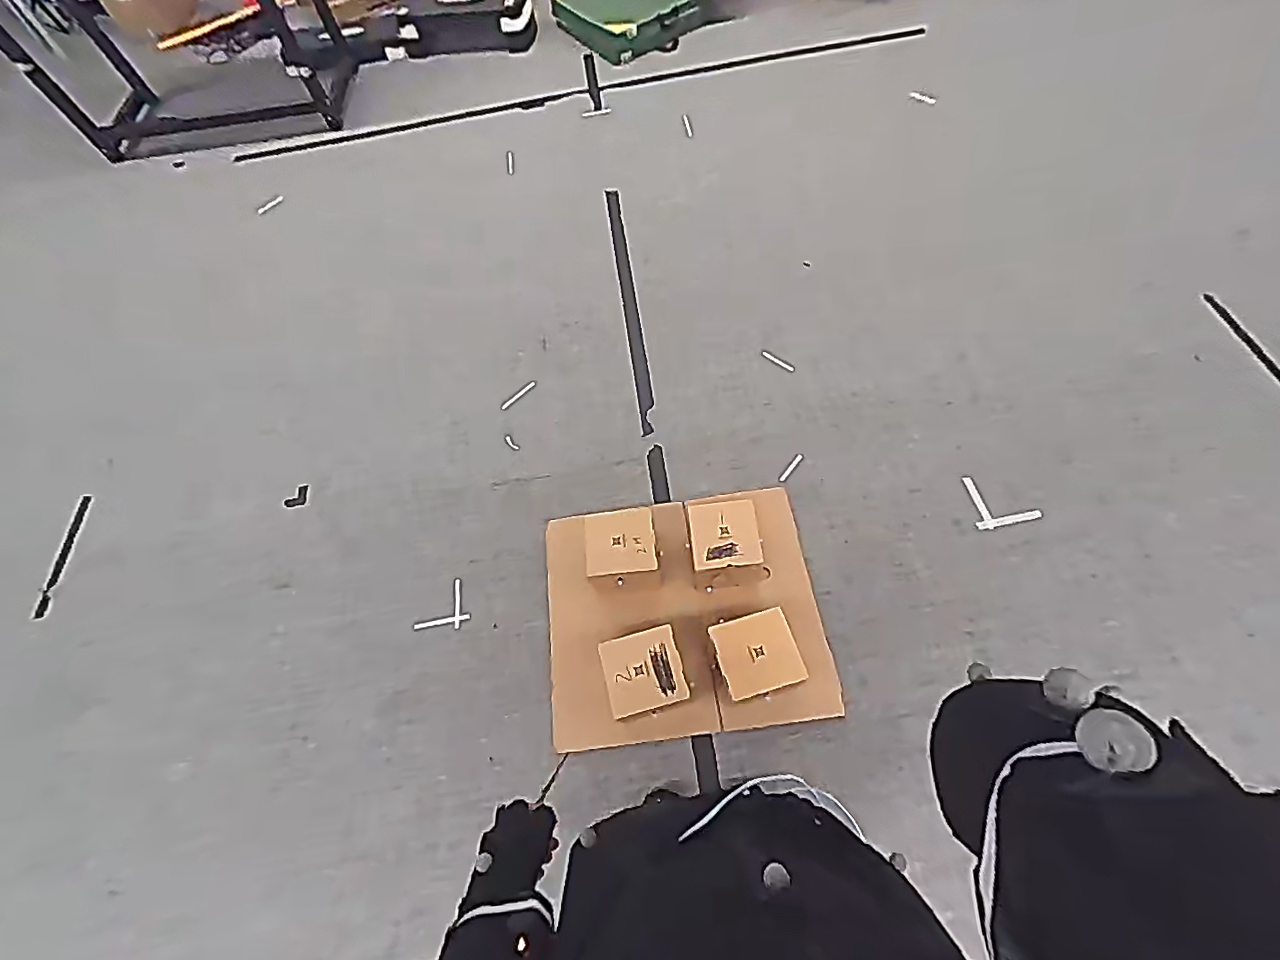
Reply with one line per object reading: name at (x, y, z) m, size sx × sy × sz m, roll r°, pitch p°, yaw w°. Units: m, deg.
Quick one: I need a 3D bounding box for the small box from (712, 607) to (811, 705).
small box at (0.276, 0.417, 1.273) m, size 0.179 × 0.176 × 0.168 m, roll -17°, pitch 62°, yaw -1°
